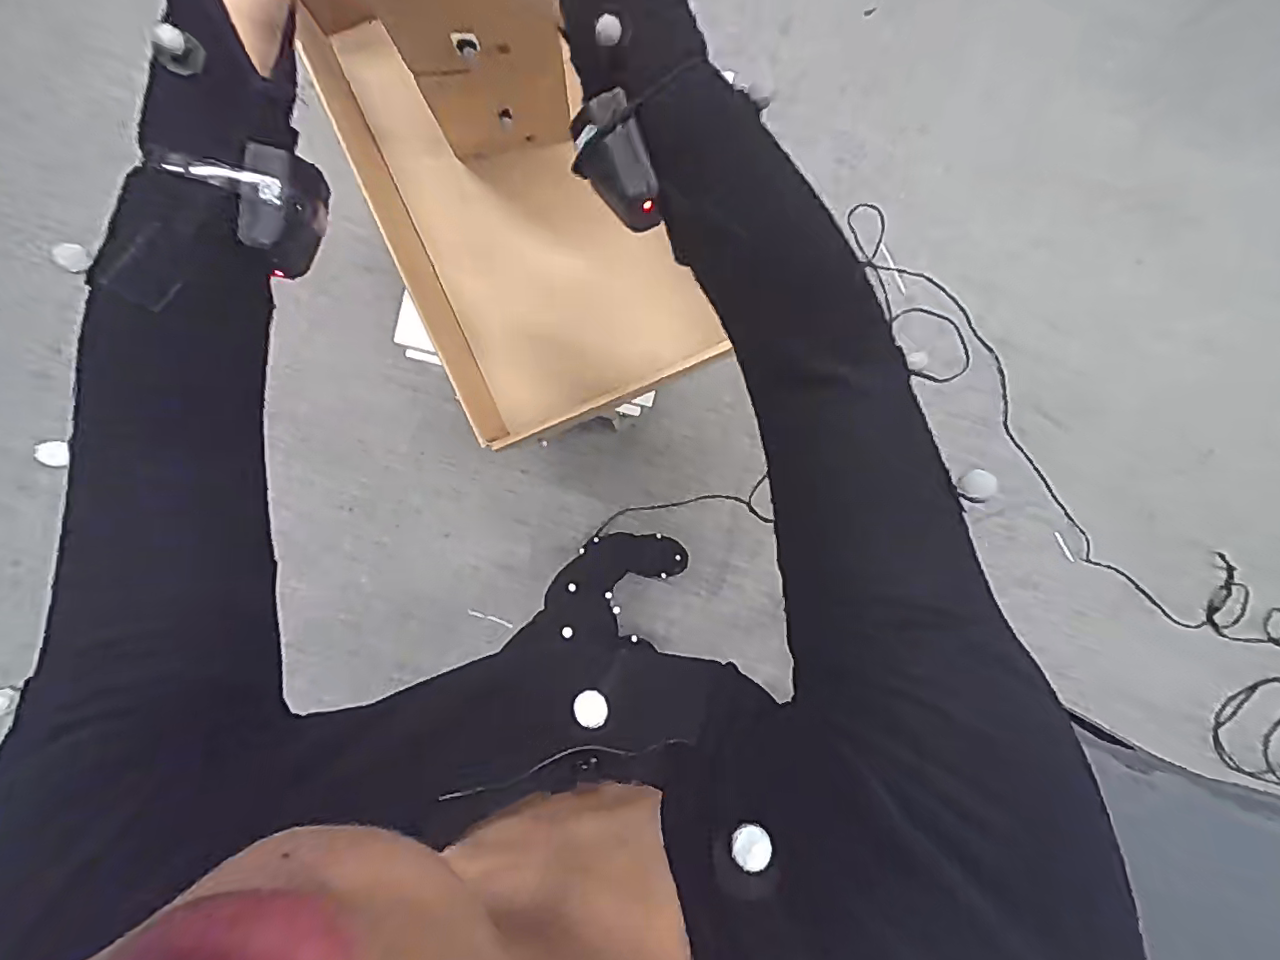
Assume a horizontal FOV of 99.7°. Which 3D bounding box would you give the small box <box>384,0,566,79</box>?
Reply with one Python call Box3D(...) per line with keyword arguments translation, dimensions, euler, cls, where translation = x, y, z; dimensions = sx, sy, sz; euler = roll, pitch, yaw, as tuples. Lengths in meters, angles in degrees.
Box3D(translation=(-0.167, -0.524, 0.503), dimensions=(0.168, 0.176, 0.179), euler=(-8, 95, -1), cls="small box")
